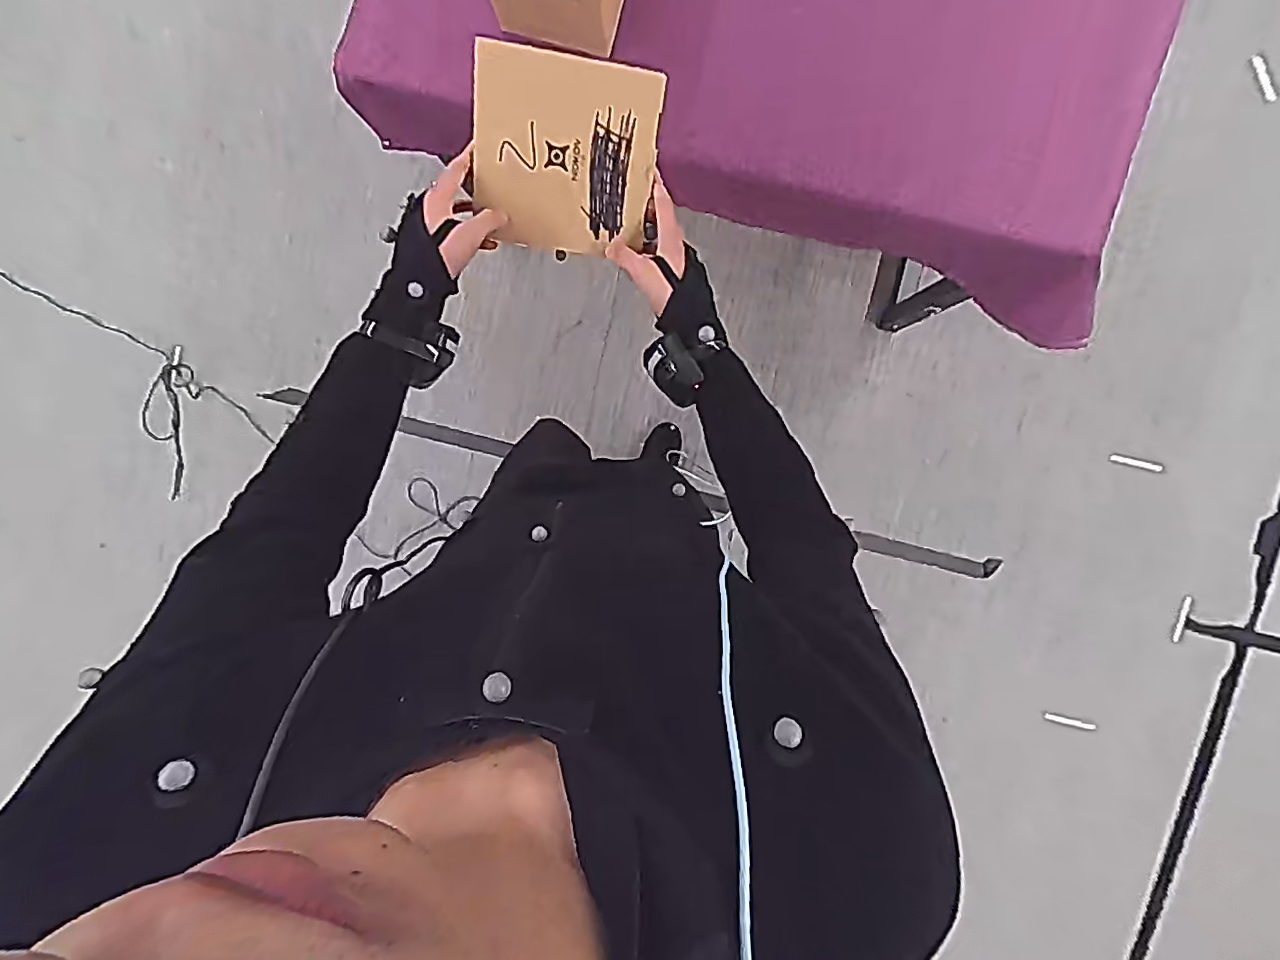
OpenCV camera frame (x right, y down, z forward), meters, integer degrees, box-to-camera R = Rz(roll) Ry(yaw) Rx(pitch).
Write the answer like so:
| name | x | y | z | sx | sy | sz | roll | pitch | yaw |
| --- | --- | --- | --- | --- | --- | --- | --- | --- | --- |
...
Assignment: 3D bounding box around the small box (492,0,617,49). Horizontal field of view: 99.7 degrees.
| name | x | y | z | sx | sy | sz | roll | pitch | yaw |
| --- | --- | --- | --- | --- | --- | --- | --- | --- | --- |
| small box | -0.113 | -0.748 | 0.746 | 0.179 | 0.176 | 0.168 | 16 | 95 | 0 |
